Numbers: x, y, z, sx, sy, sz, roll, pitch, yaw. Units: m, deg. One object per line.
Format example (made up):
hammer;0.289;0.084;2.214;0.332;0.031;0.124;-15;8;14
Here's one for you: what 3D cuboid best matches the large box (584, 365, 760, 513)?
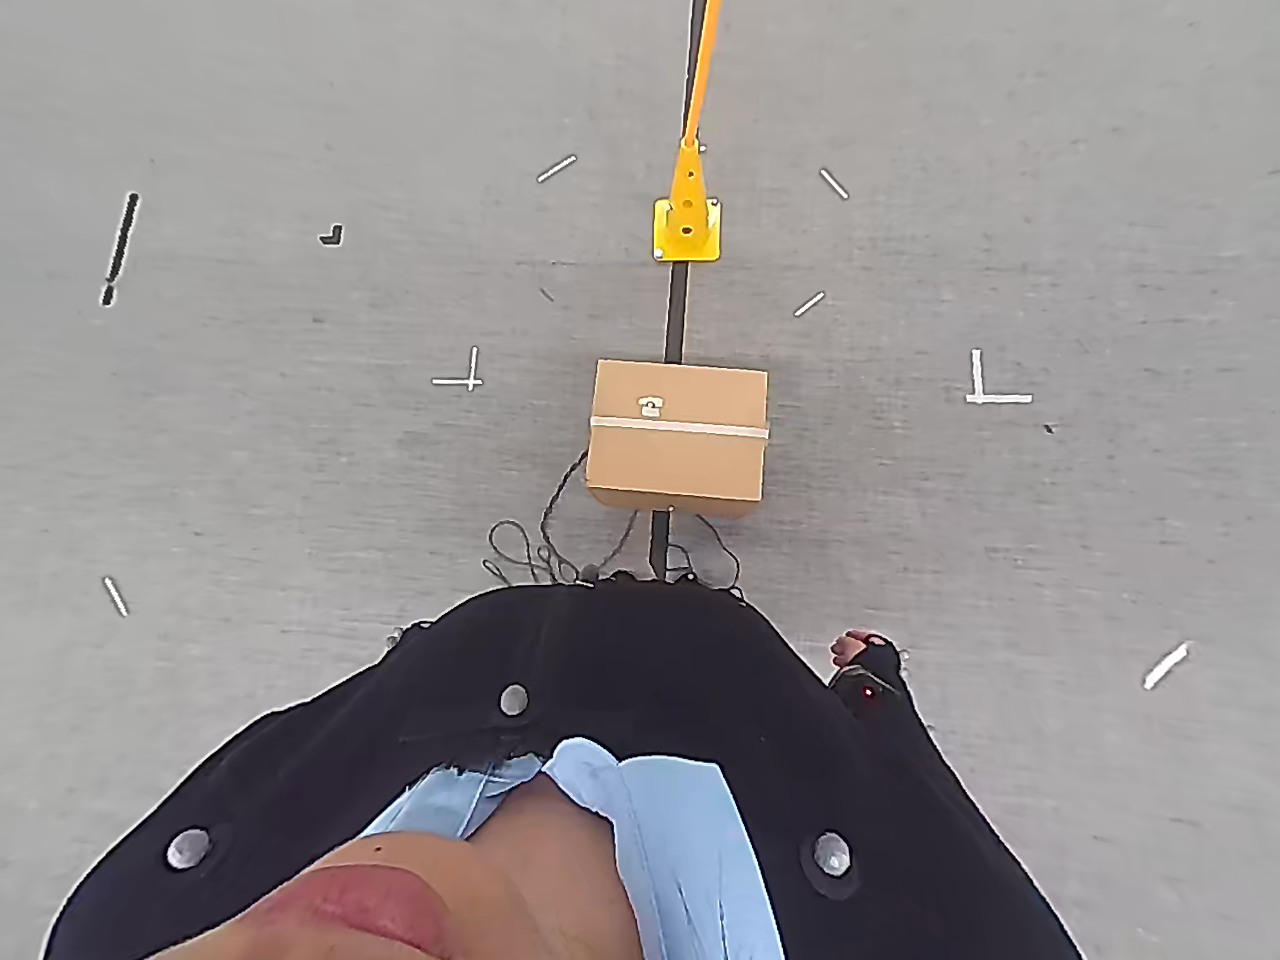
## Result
large box;0.088;-0.091;1.408;0.408;0.320;0.320;4;78;4
